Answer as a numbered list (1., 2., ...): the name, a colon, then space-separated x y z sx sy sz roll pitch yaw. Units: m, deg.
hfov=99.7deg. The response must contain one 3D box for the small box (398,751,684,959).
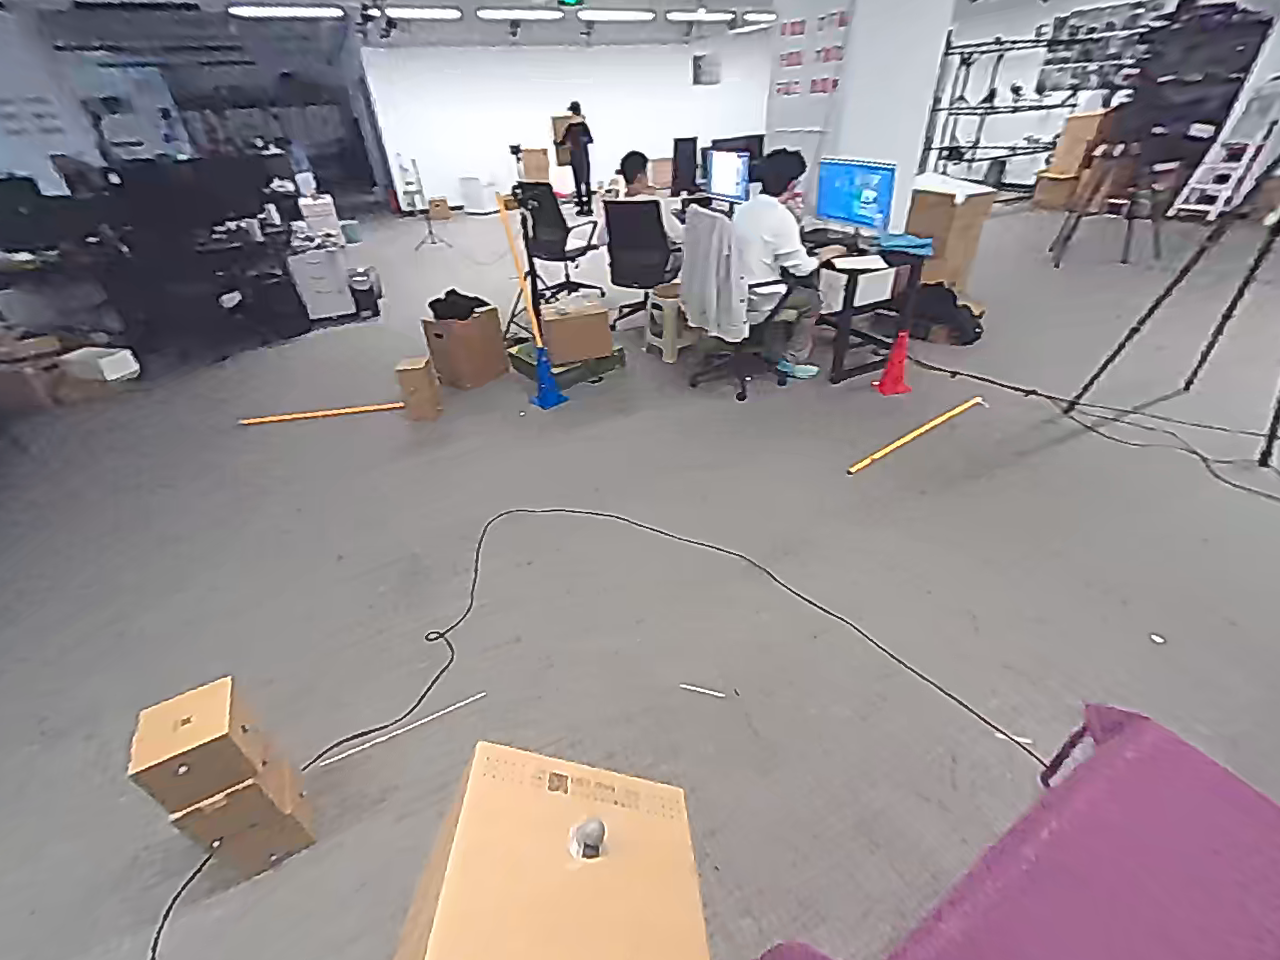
1. small box: -0.074 0.328 0.368 0.168 0.179 0.176 20 20 -12

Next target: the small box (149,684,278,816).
1. small box: -0.949 0.610 1.225 0.179 0.176 0.168 -22 38 -21

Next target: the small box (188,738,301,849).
1. small box: -0.945 0.750 1.308 0.168 0.176 0.179 -21 37 -22
